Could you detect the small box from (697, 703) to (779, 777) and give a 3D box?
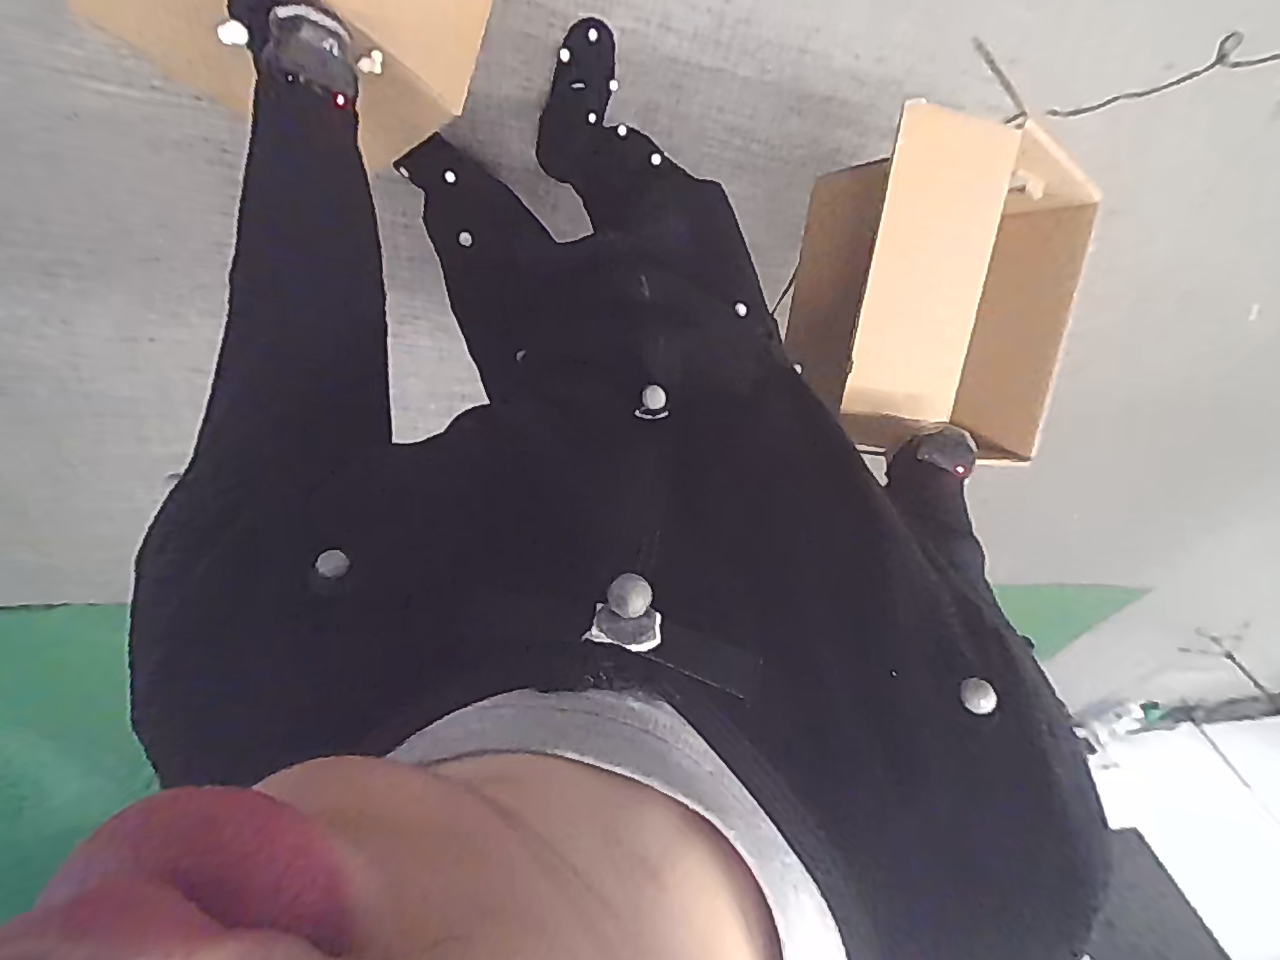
[{"bbox_3d":[0.304,0.821,1.713,0.179,0.176,0.168,7,133,-19],"label":"small box"}]
